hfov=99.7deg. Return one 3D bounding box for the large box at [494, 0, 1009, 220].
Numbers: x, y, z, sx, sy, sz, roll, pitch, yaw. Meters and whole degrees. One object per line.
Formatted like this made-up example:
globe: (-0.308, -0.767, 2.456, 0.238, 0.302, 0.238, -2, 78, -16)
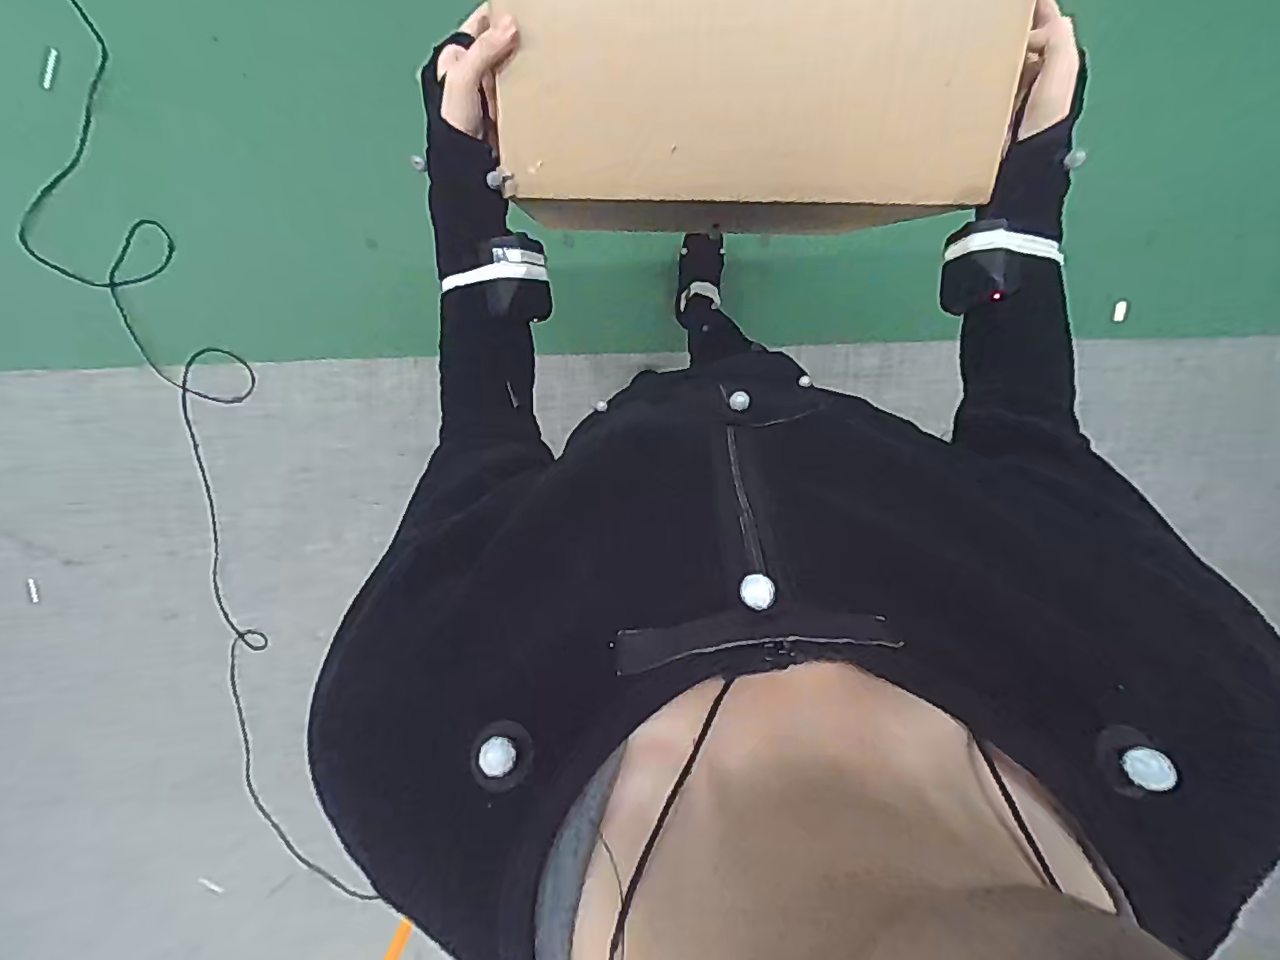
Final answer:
large box: (0.084, -0.441, 0.540, 0.408, 0.320, 0.320, 0, 110, -2)
